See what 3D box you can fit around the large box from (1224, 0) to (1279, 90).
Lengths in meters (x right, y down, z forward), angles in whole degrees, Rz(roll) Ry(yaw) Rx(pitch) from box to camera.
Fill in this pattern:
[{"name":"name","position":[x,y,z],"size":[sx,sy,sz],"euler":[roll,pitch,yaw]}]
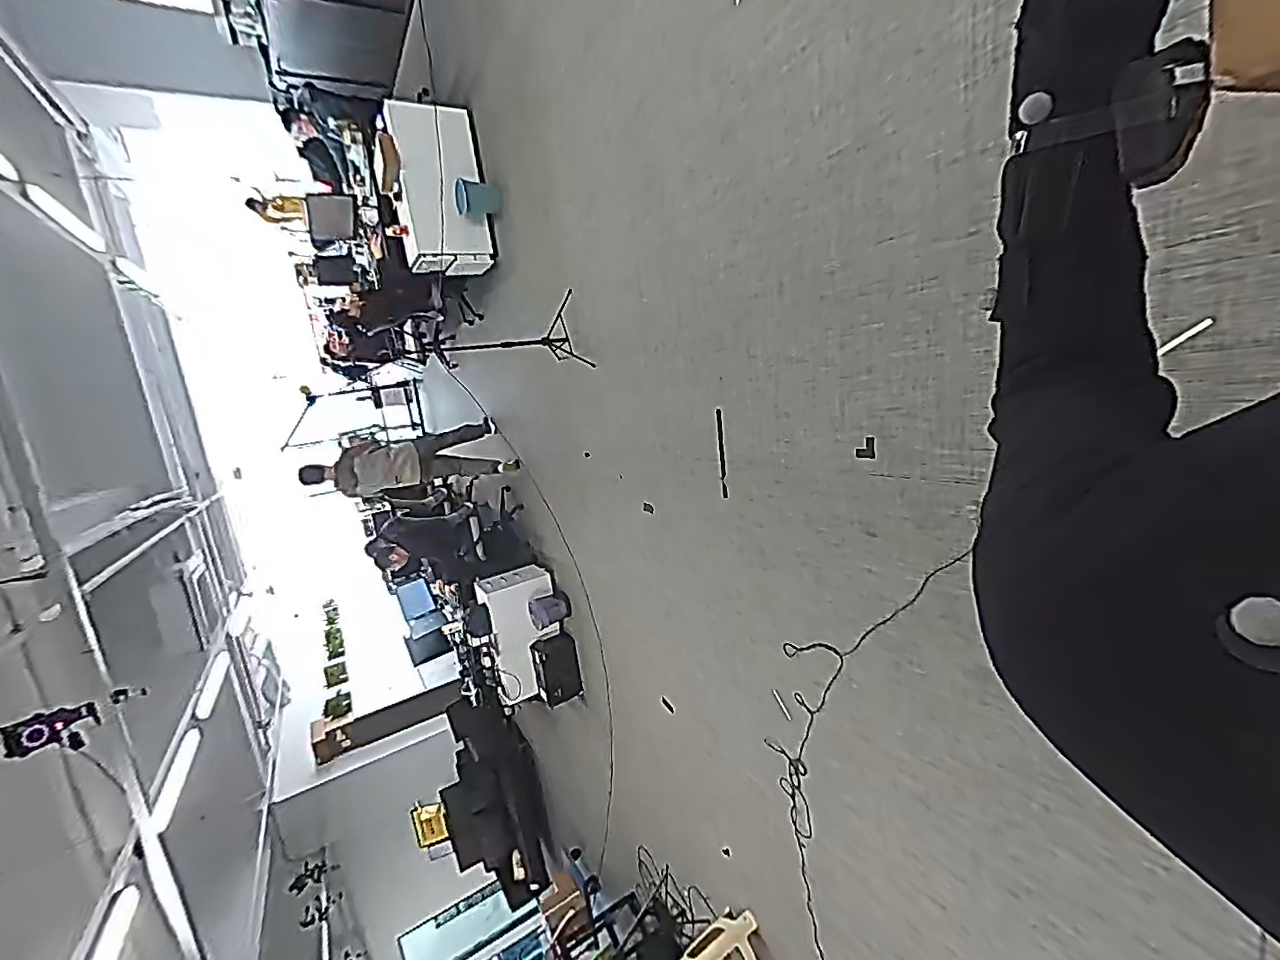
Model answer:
[{"name":"large box","position":[0.493,-0.385,0.158],"size":[0.408,0.320,0.320],"euler":[7,116,57]}]
